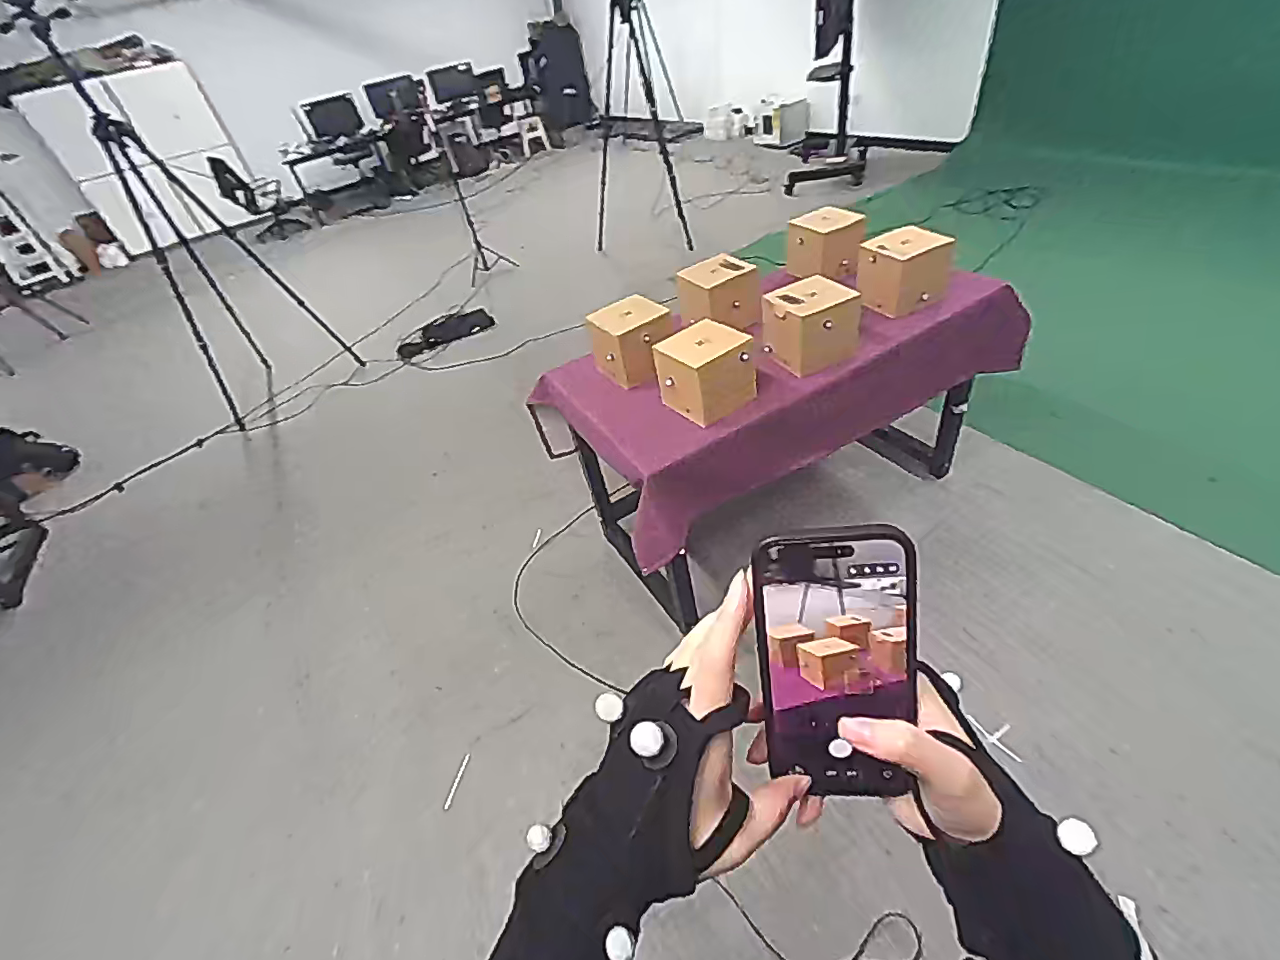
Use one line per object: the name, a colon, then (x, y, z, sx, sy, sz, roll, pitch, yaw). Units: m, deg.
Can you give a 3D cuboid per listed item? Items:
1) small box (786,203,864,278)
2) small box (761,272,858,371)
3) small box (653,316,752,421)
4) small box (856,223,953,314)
small box: (0.584, -0.760, 1.731, 0.168, 0.176, 0.179, -26, 44, -13)
small box: (0.430, -0.404, 1.385, 0.179, 0.176, 0.168, -23, 43, -12)
small box: (0.158, -0.269, 1.311, 0.179, 0.176, 0.168, -32, 45, -21)
small box: (0.727, -0.590, 1.509, 0.179, 0.176, 0.168, -23, 42, -11)
